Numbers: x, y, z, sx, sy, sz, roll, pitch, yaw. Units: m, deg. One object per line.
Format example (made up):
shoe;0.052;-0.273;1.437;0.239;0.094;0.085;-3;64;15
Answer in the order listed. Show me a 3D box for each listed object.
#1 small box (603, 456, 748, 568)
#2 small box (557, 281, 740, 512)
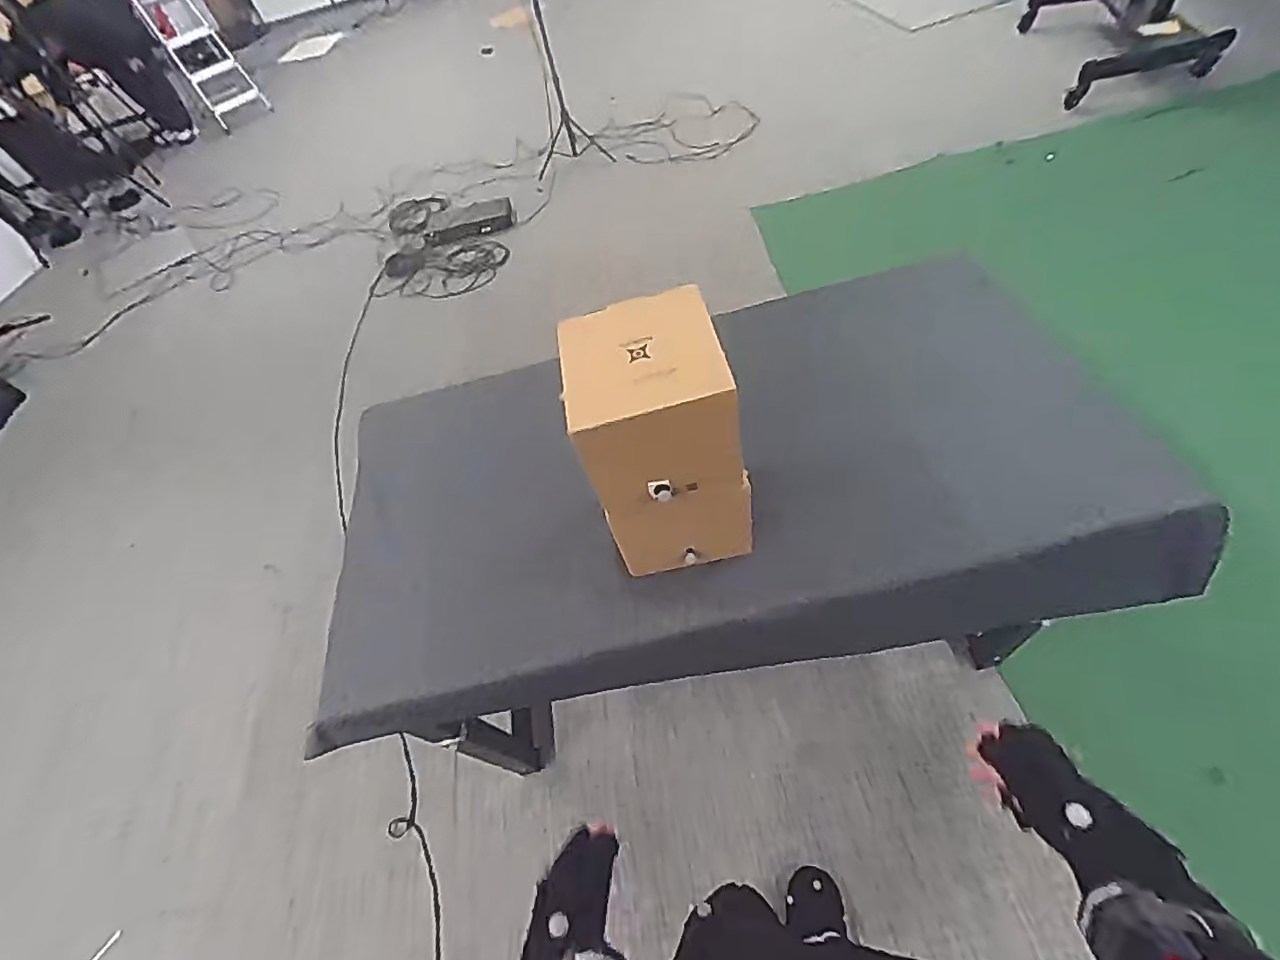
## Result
small box;0.045;0.003;0.754;0.179;0.176;0.168;-12;53;3
small box;0.013;-0.091;0.625;0.168;0.176;0.179;-15;54;4
